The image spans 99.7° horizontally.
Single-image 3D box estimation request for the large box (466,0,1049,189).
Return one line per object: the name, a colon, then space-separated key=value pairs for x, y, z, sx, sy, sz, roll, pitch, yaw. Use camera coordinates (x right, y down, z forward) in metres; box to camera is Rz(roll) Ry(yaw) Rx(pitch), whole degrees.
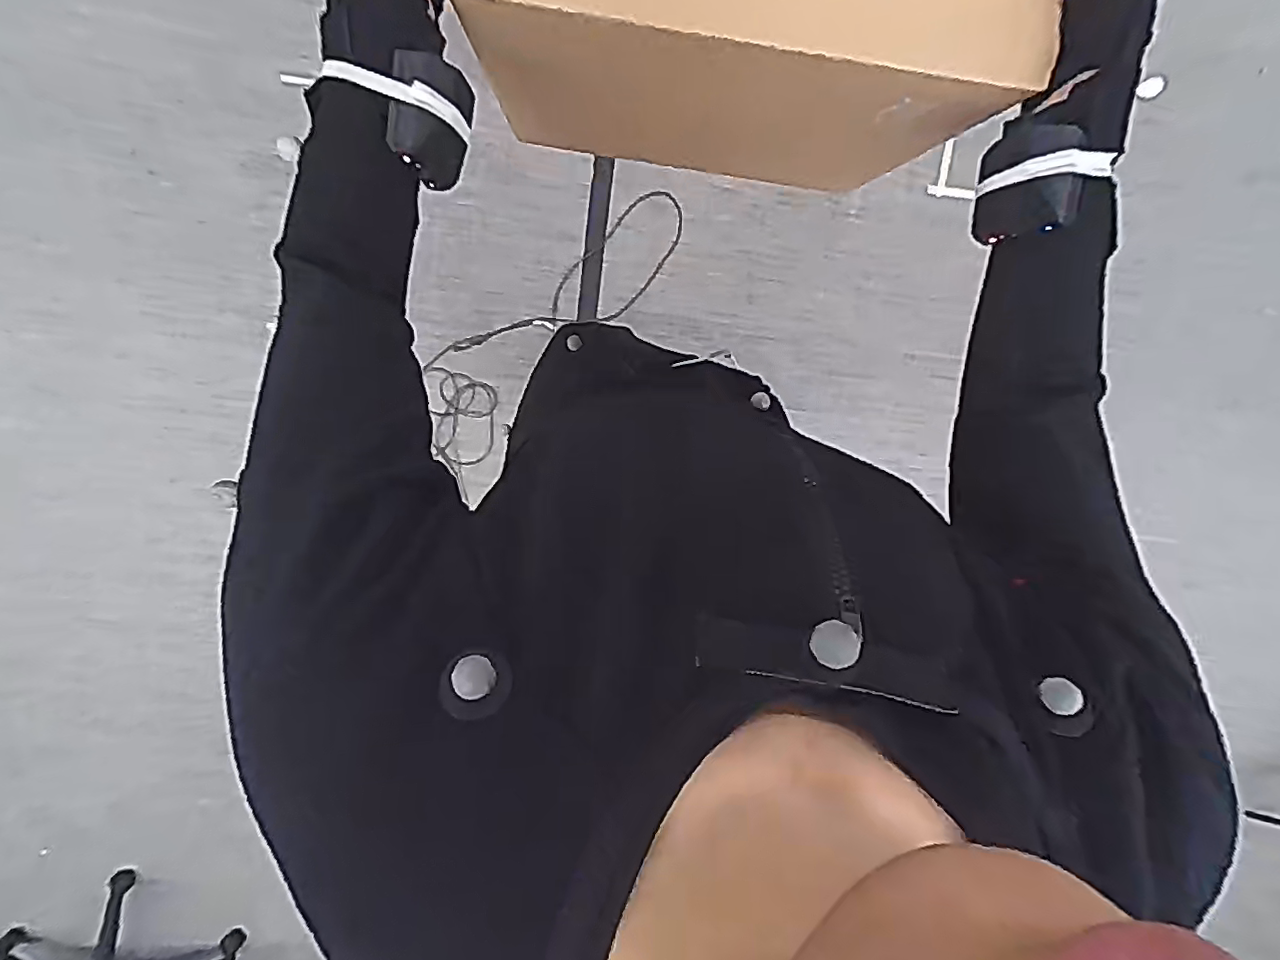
large box: x=0.082 y=-0.478 z=0.467 sx=0.408 sy=0.320 sz=0.320 roll=5 pitch=107 yaw=-6
